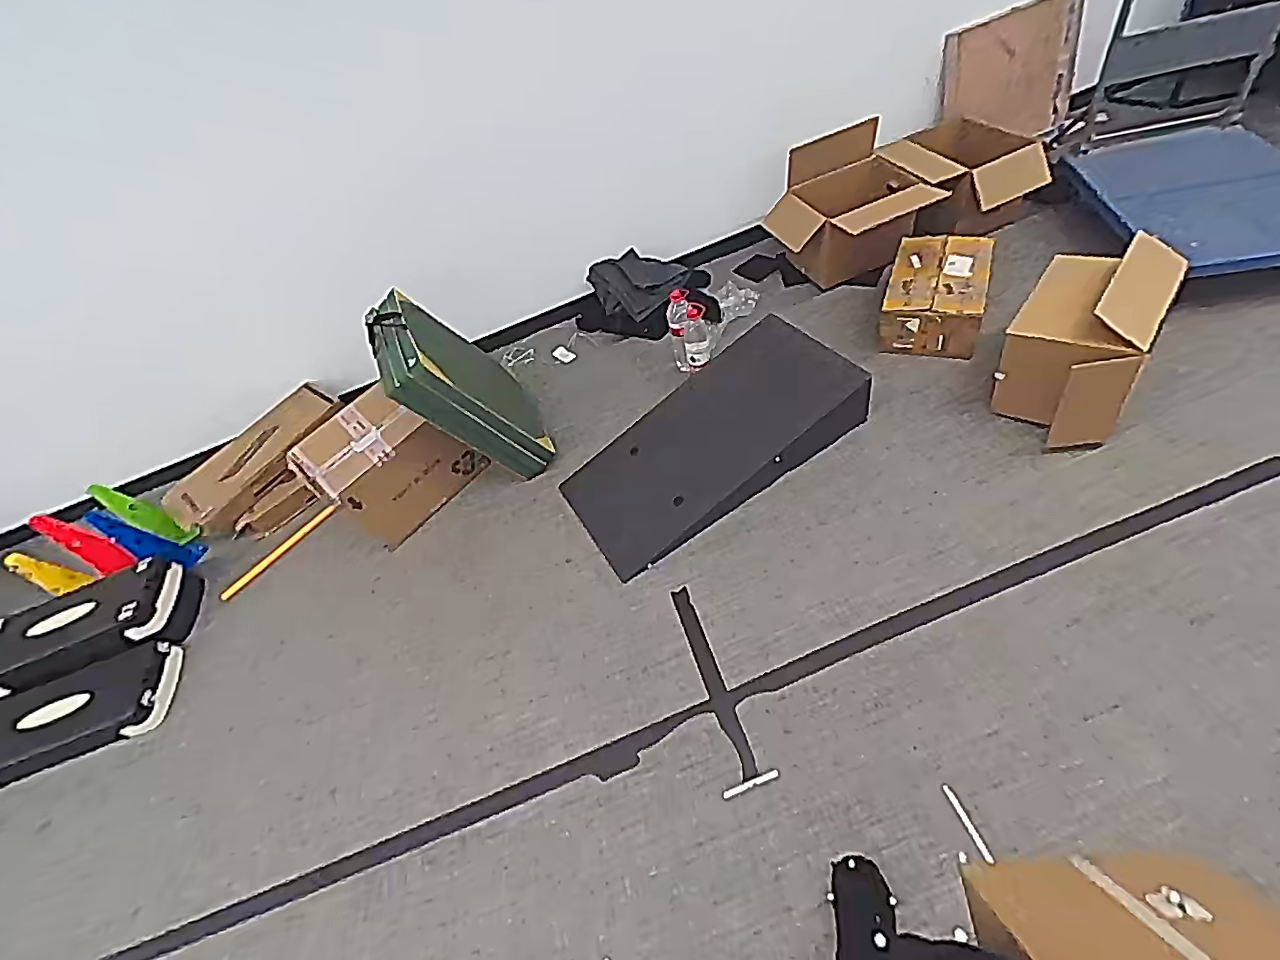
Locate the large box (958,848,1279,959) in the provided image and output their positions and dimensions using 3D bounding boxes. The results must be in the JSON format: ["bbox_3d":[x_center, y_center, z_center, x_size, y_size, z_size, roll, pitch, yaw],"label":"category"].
[{"bbox_3d":[0.619,0.664,0.575,0.320,0.408,0.320,-8,78,8],"label":"large box"}]
